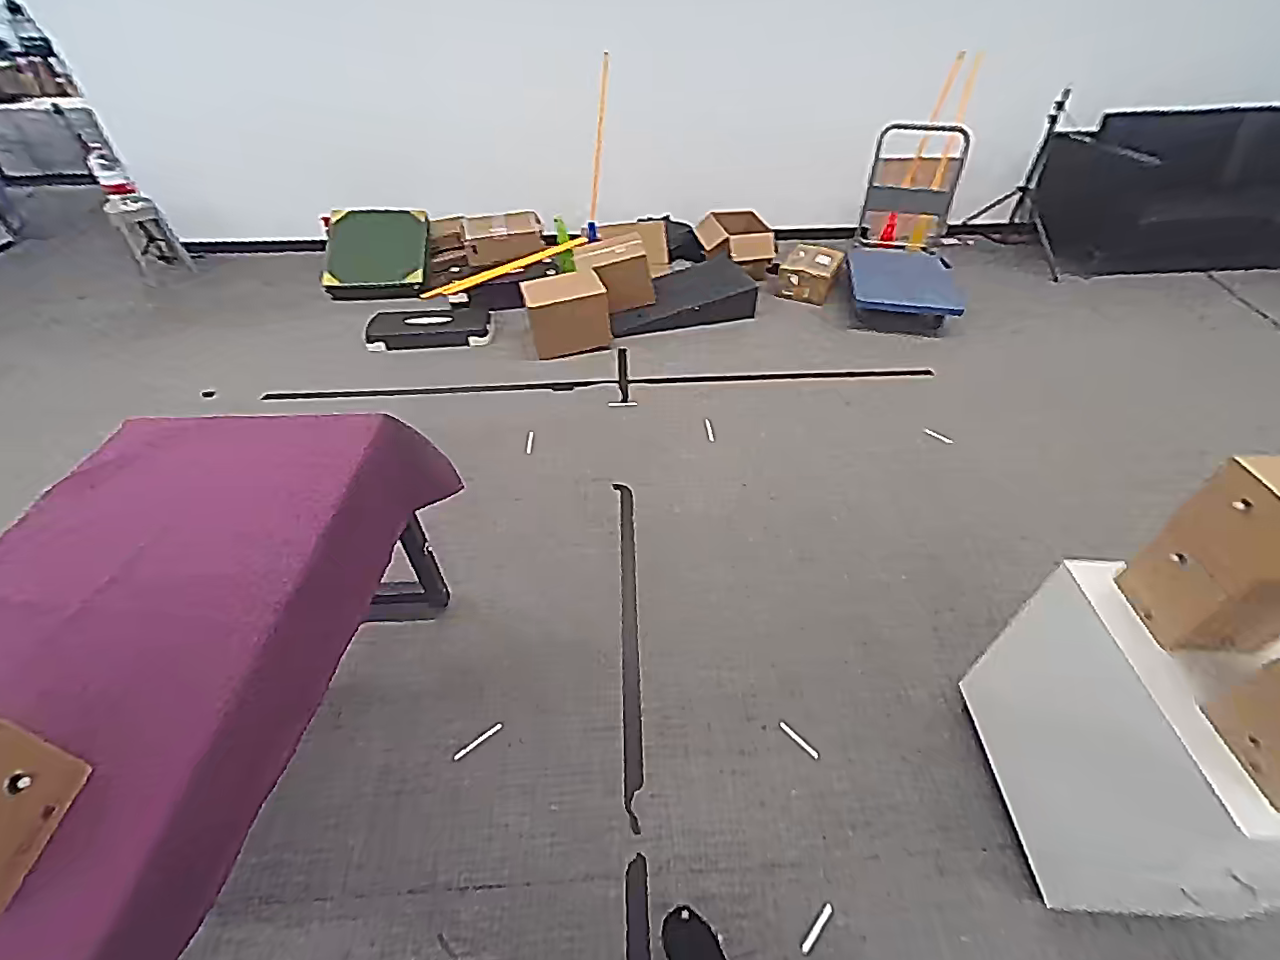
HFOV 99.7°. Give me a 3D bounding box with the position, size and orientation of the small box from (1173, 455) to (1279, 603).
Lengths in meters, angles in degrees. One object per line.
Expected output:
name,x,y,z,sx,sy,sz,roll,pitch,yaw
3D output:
small box,1.044,0.081,0.876,0.168,0.176,0.179,2,44,3

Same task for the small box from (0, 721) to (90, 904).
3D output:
small box,-0.804,0.387,0.607,0.179,0.176,0.168,-2,42,-1

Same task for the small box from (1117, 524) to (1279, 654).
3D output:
small box,1.048,0.201,0.989,0.179,0.176,0.168,3,43,2
